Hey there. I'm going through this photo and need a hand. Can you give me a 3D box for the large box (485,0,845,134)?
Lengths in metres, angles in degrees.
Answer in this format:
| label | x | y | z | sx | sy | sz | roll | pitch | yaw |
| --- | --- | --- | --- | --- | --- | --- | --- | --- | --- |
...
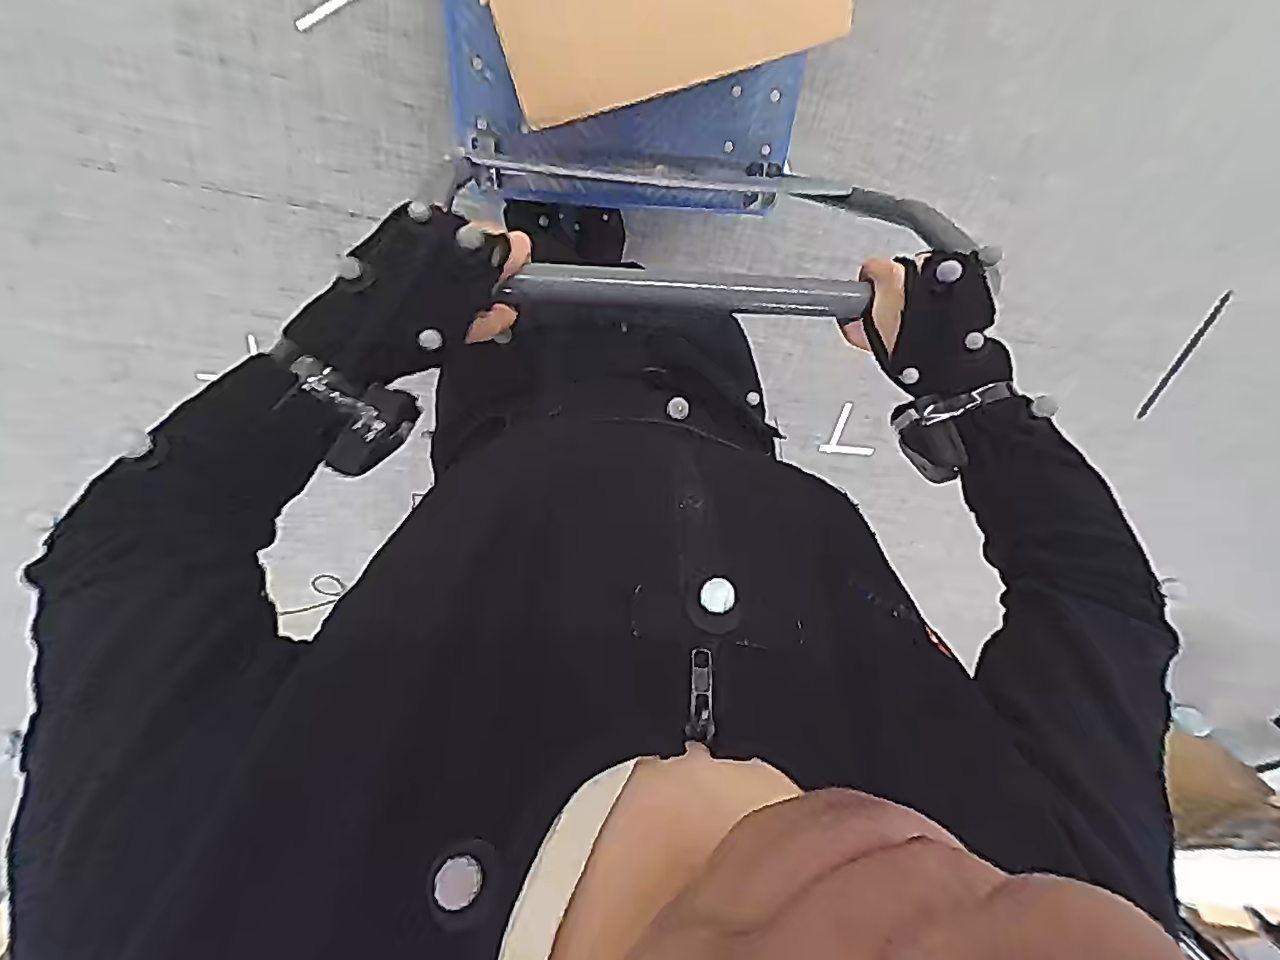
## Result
| label | x | y | z | sx | sy | sz | roll | pitch | yaw |
| --- | --- | --- | --- | --- | --- | --- | --- | --- | --- |
| large box | -0.006 | -0.678 | 0.693 | 0.408 | 0.320 | 0.320 | -18 | 125 | 0 |
